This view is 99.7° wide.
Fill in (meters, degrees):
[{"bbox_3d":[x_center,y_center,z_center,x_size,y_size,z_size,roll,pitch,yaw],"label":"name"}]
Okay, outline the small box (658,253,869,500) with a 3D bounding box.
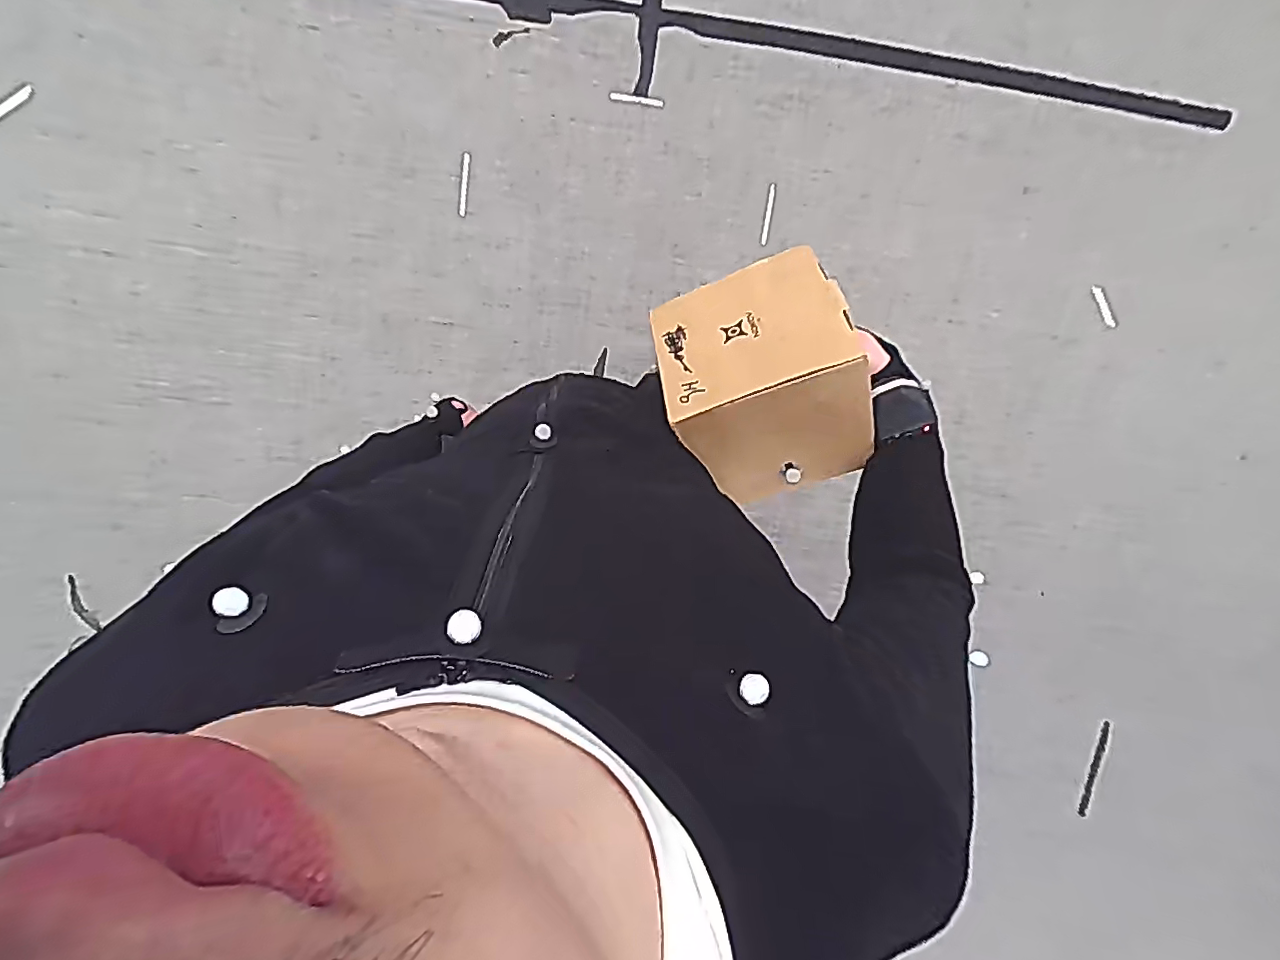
[{"bbox_3d":[0.135,-0.103,0.590,0.179,0.168,0.176,-18,142,14],"label":"small box"}]
